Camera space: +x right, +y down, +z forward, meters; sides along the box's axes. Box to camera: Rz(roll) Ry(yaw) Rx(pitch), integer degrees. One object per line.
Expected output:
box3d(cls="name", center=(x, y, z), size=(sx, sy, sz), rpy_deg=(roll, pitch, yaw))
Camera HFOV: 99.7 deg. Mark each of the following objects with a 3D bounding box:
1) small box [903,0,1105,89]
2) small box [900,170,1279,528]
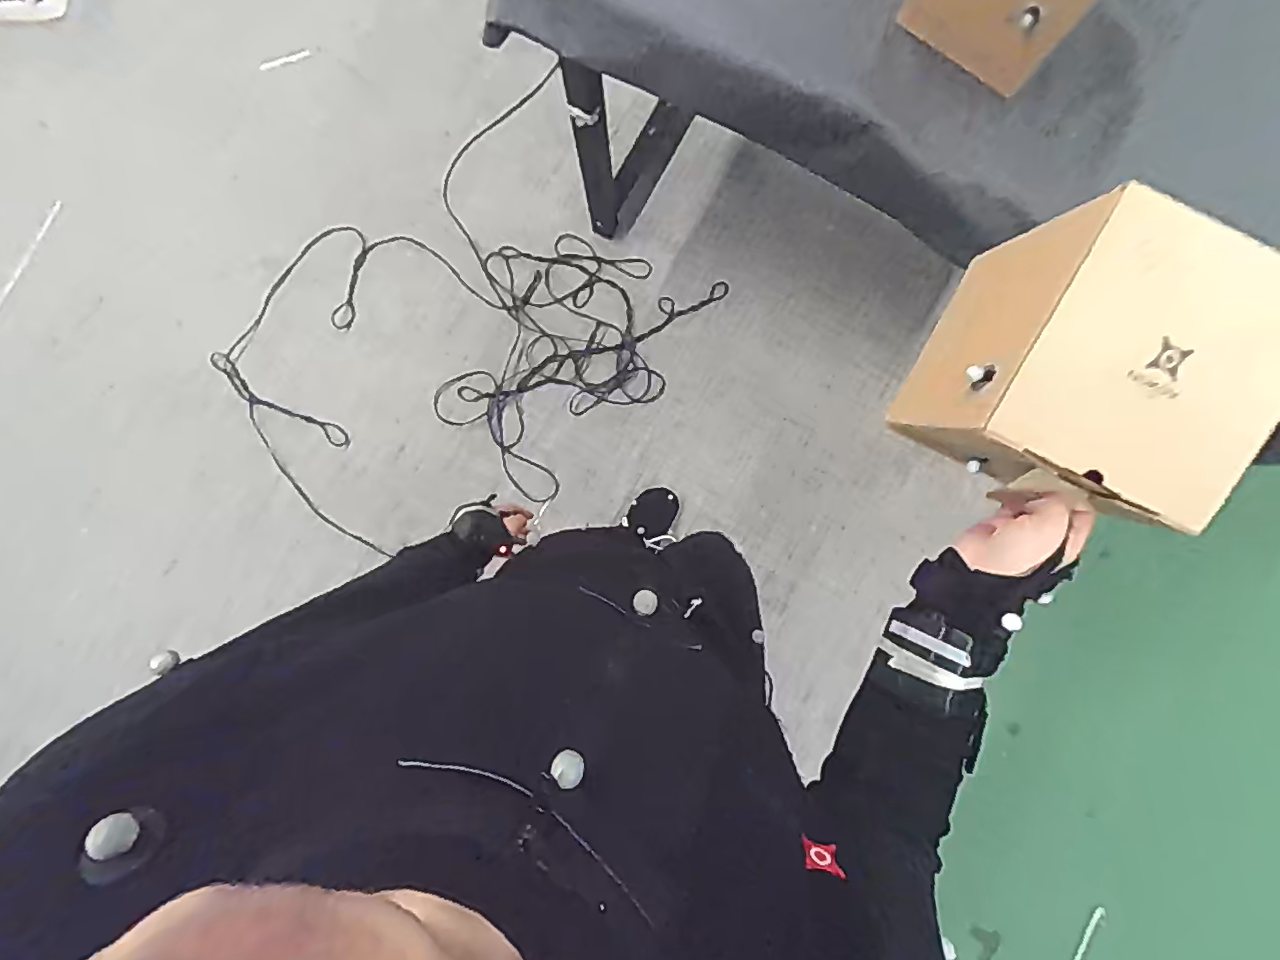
box3d(cls="small box", center=(0.436, -0.582, 0.590), size=(0.179, 0.176, 0.168), rpy_deg=(37, 86, 3))
box3d(cls="small box", center=(0.341, -0.091, 0.422), size=(0.168, 0.176, 0.179), rpy_deg=(26, 100, -1))
